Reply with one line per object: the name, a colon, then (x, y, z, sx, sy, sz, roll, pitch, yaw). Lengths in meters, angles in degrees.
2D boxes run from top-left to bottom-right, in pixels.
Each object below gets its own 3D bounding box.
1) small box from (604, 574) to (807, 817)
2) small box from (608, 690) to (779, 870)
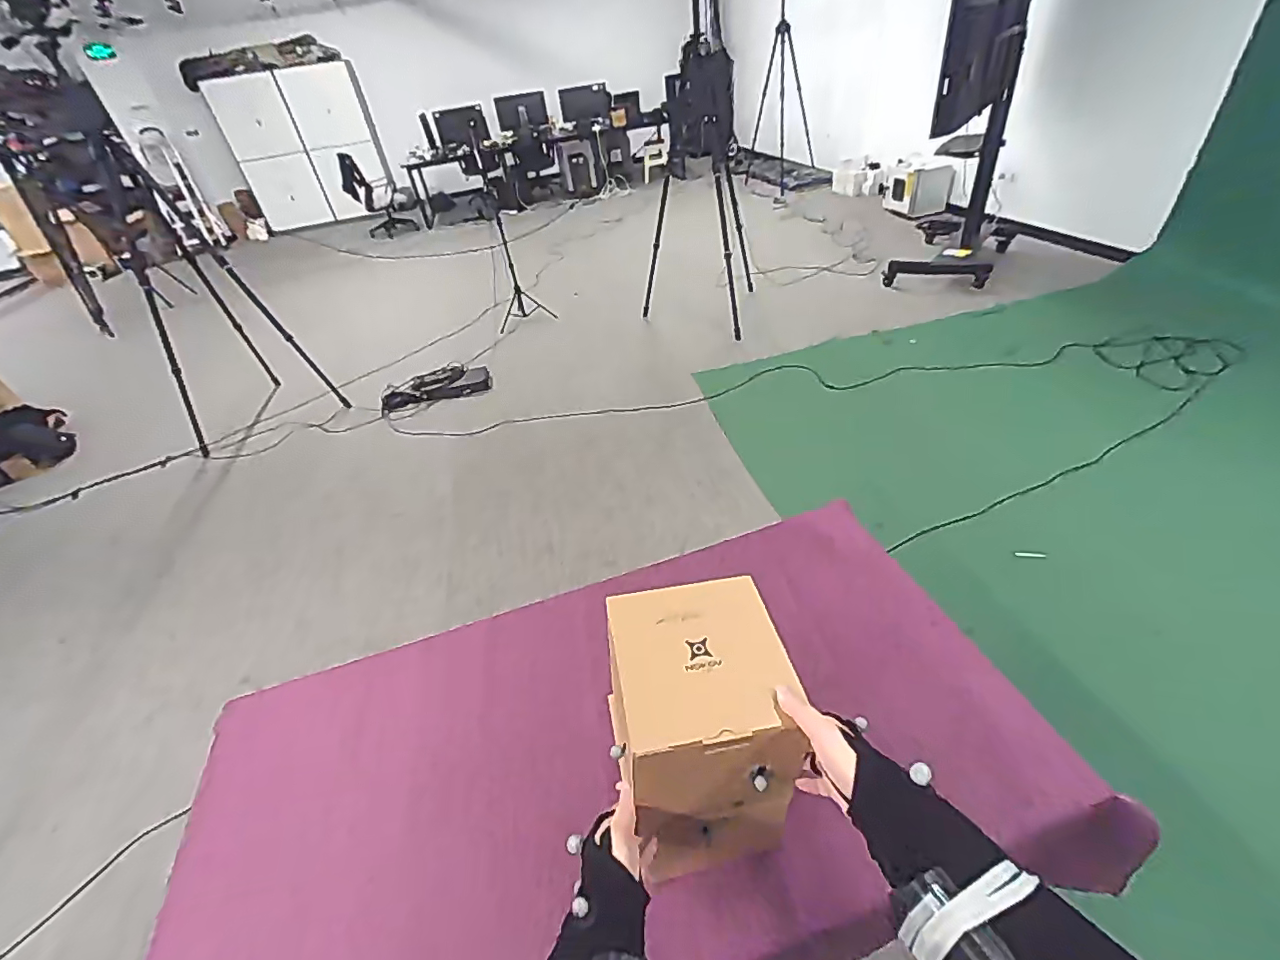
small box: (0.058, 0.231, 0.576, 0.168, 0.176, 0.179, -8, 38, -7)
small box: (0.069, 0.364, 0.692, 0.179, 0.176, 0.168, -14, 39, -4)
